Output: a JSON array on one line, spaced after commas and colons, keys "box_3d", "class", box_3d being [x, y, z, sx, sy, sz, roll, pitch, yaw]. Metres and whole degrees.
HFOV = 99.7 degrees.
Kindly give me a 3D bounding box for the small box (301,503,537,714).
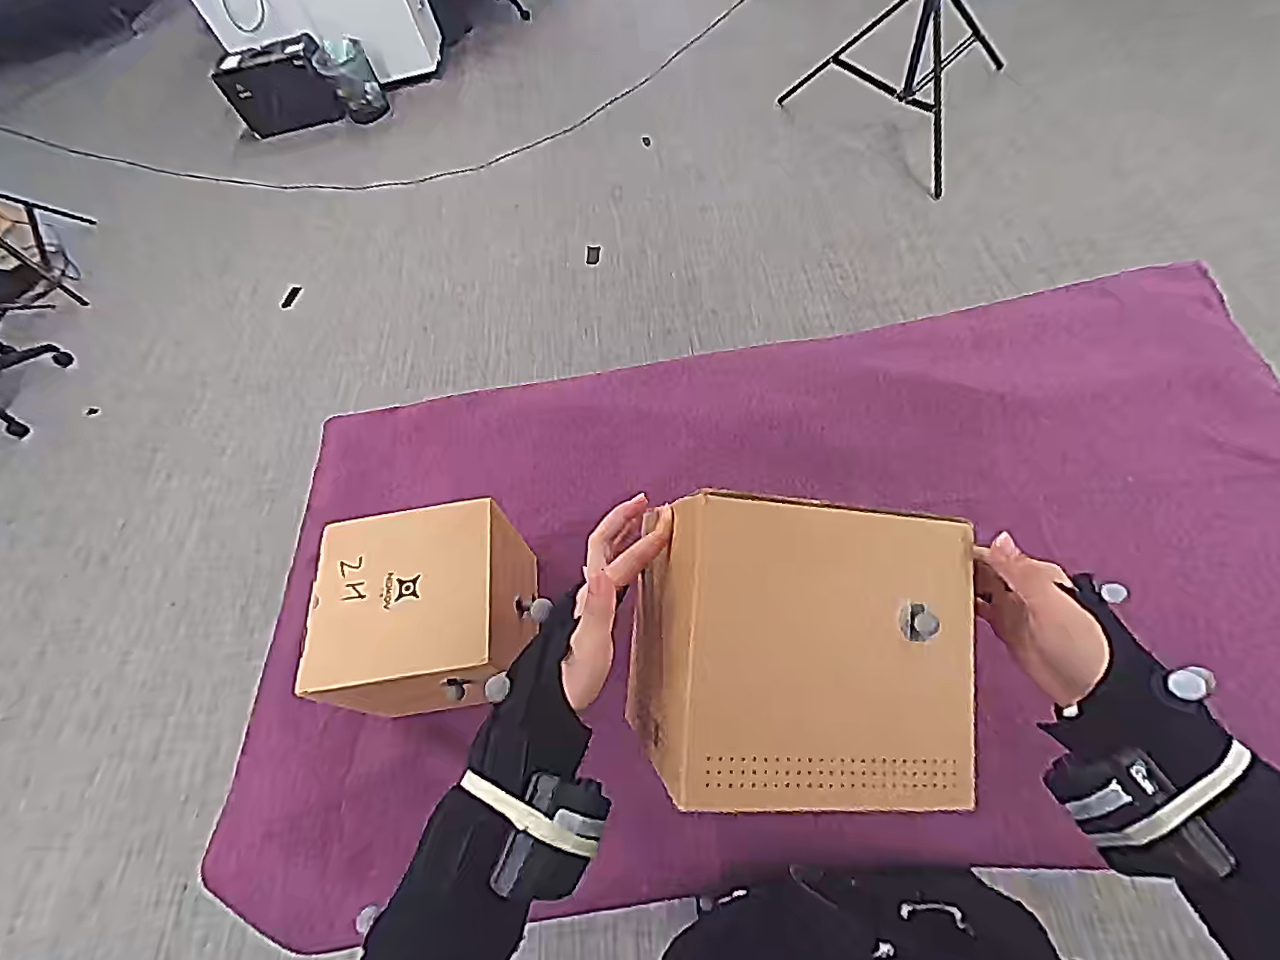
[{"box_3d": [-0.212, 0.144, 0.577, 0.179, 0.176, 0.168, -9, 59, 2], "class": "small box"}]
